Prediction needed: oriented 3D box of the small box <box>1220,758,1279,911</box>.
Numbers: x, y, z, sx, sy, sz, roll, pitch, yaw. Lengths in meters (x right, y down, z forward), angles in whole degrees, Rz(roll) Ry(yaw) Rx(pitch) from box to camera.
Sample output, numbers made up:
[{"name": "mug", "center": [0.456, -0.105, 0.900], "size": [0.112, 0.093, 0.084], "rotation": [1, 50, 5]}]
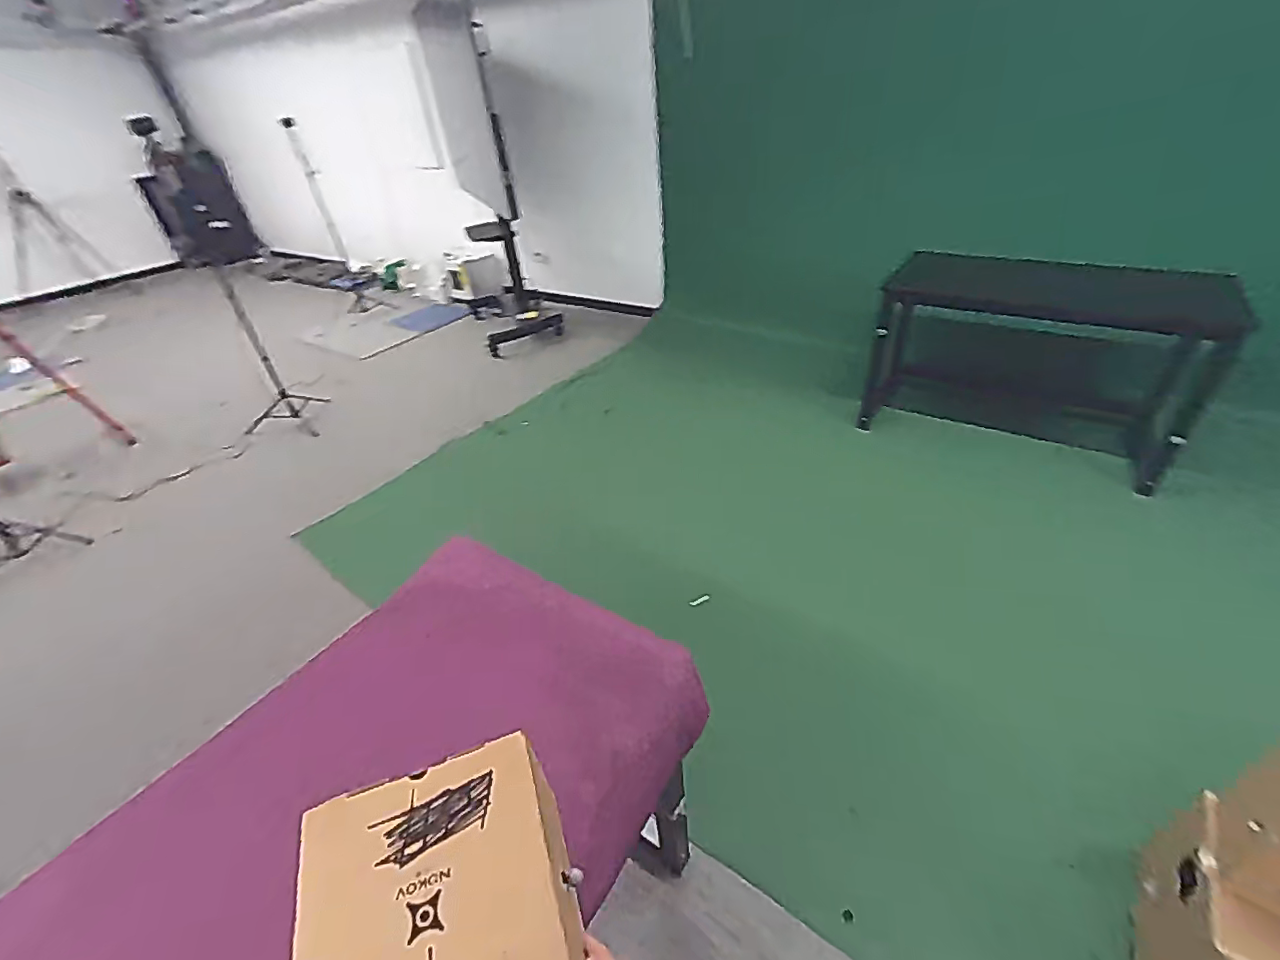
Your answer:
[{"name": "small box", "center": [1.135, 0.624, 0.913], "size": [0.168, 0.176, 0.179], "rotation": [21, 44, 31]}]

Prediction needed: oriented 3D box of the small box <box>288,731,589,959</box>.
[{"name": "small box", "center": [-0.136, 0.330, 0.405], "size": [0.168, 0.176, 0.179], "rotation": [-16, 45, -12]}]

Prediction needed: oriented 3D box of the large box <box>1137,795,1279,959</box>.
[{"name": "large box", "center": [1.209, 0.877, 0.967], "size": [0.408, 0.320, 0.320], "rotation": [21, 44, 31]}]
